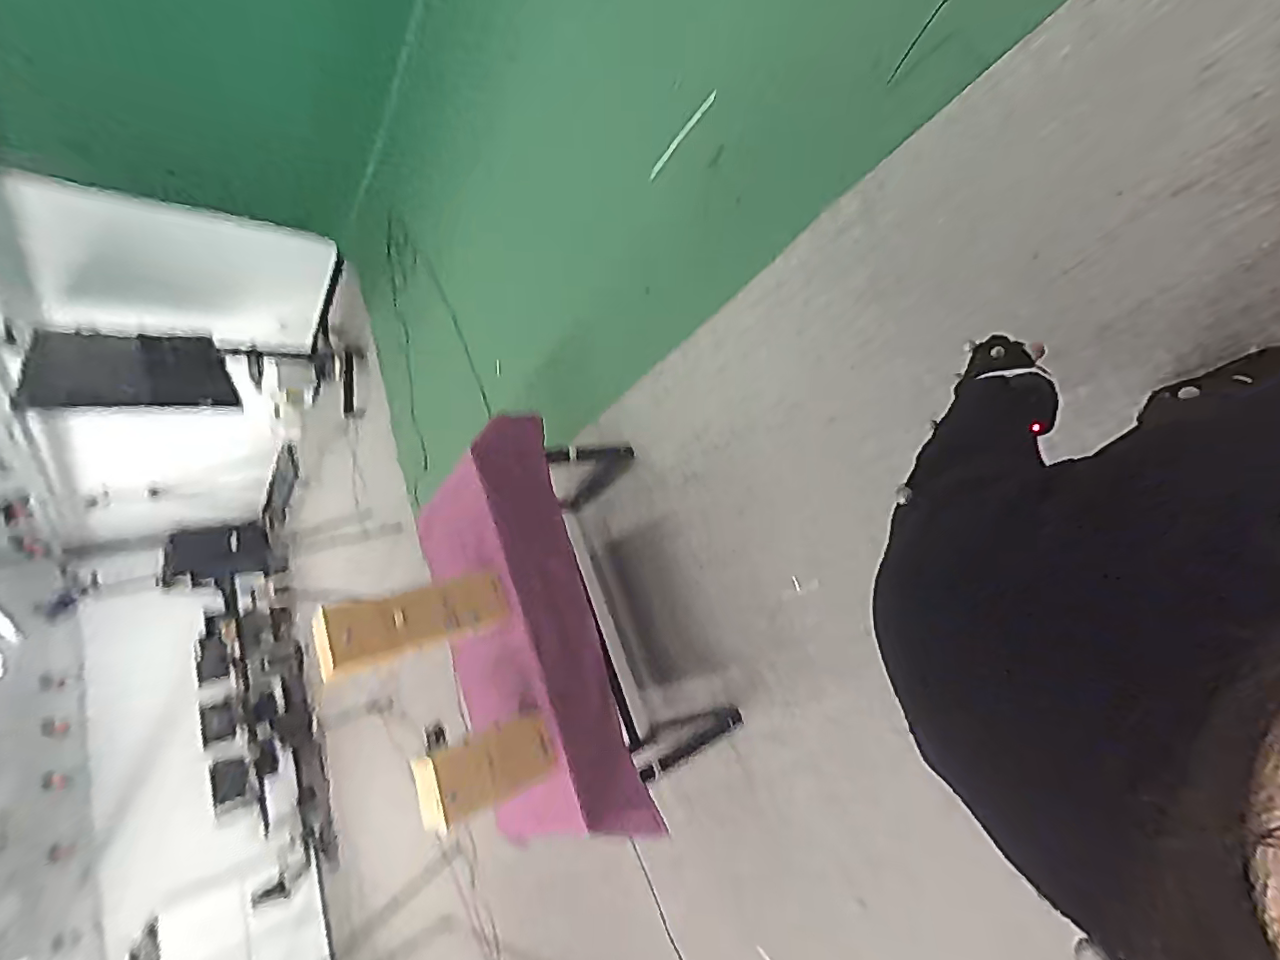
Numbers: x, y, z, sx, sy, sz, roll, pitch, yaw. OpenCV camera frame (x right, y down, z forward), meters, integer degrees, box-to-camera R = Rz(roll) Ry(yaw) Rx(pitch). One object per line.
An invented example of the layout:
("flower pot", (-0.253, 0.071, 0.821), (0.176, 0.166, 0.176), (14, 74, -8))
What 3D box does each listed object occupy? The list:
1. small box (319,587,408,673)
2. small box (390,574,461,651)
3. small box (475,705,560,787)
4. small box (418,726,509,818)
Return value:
("small box", (-0.770, 0.411, 1.505), (0.168, 0.176, 0.179), (-40, 66, 43))
("small box", (-0.649, 0.393, 1.614), (0.179, 0.176, 0.168), (-39, 66, 44))
("small box", (-0.359, 0.773, 1.585), (0.179, 0.176, 0.168), (-31, 72, 45))
("small box", (-0.481, 0.787, 1.474), (0.179, 0.176, 0.168), (-32, 73, 46))
